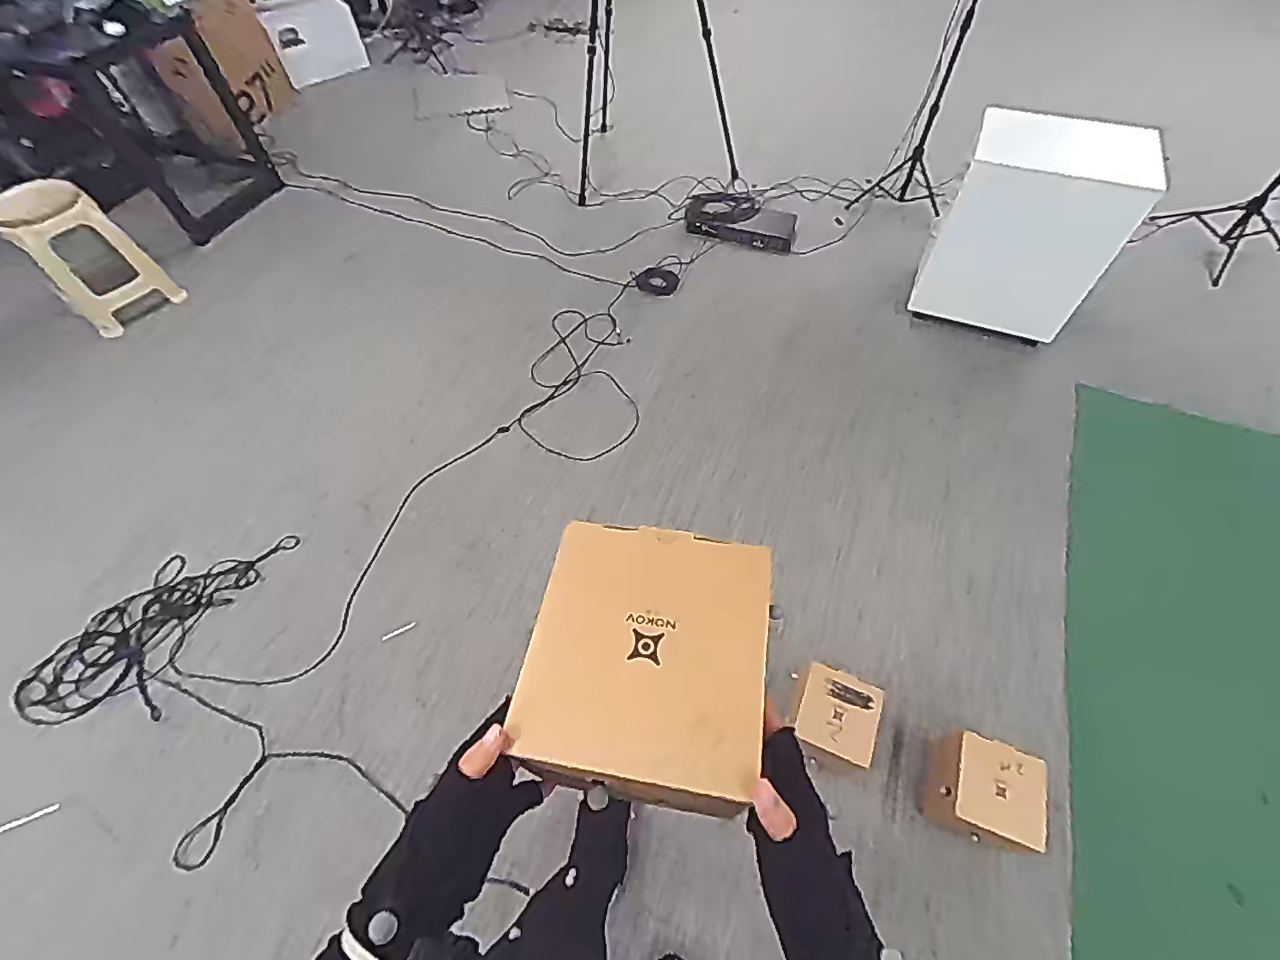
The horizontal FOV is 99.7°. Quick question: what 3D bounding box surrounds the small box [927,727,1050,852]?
[{"bbox_3d":[0.740,0.663,1.159,0.168,0.176,0.179,19,59,13],"label":"small box"}]
